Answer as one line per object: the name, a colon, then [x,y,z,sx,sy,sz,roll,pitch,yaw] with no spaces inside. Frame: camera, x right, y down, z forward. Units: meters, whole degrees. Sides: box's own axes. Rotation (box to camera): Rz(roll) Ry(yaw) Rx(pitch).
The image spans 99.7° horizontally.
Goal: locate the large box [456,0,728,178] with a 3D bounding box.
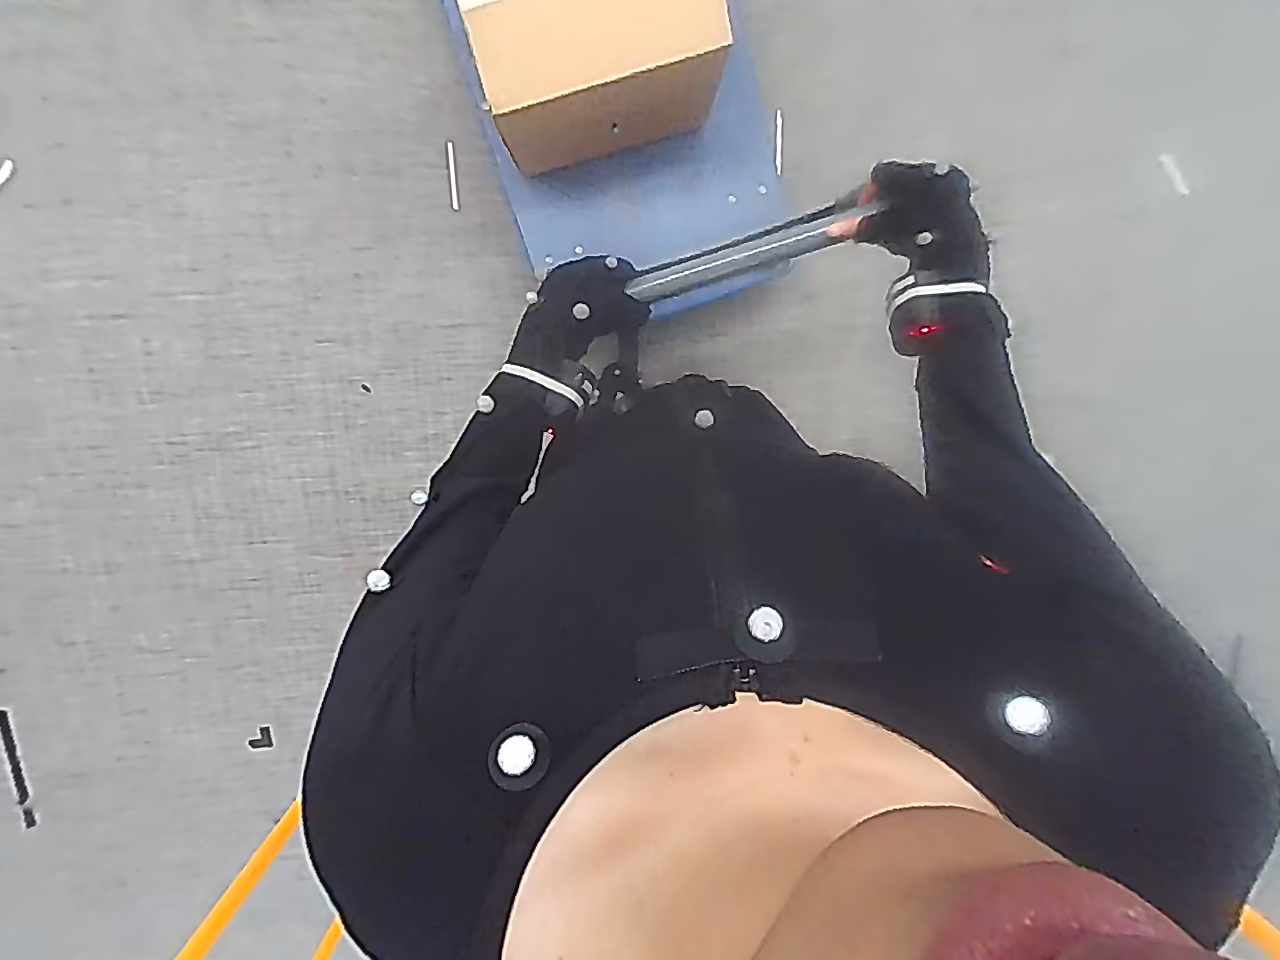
large box: [-0.091,-0.812,0.987,0.408,0.320,0.320,-16,102,2]
